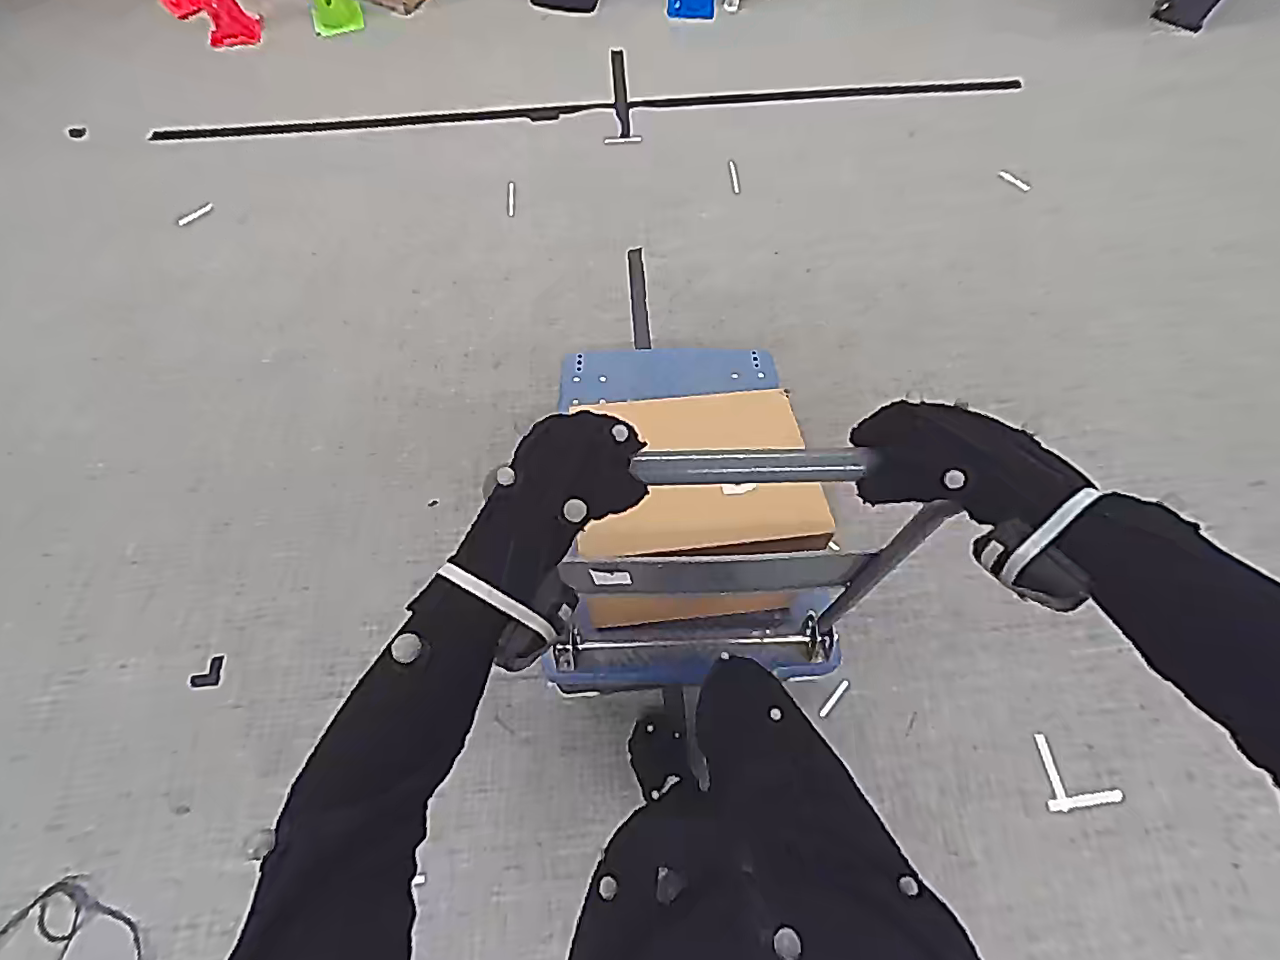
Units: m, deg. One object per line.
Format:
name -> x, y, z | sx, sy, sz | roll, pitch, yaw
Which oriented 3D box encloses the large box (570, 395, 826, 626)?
large box -> 0.083, 0.066, 1.058 | 0.408, 0.320, 0.320 | -5, 56, -5
